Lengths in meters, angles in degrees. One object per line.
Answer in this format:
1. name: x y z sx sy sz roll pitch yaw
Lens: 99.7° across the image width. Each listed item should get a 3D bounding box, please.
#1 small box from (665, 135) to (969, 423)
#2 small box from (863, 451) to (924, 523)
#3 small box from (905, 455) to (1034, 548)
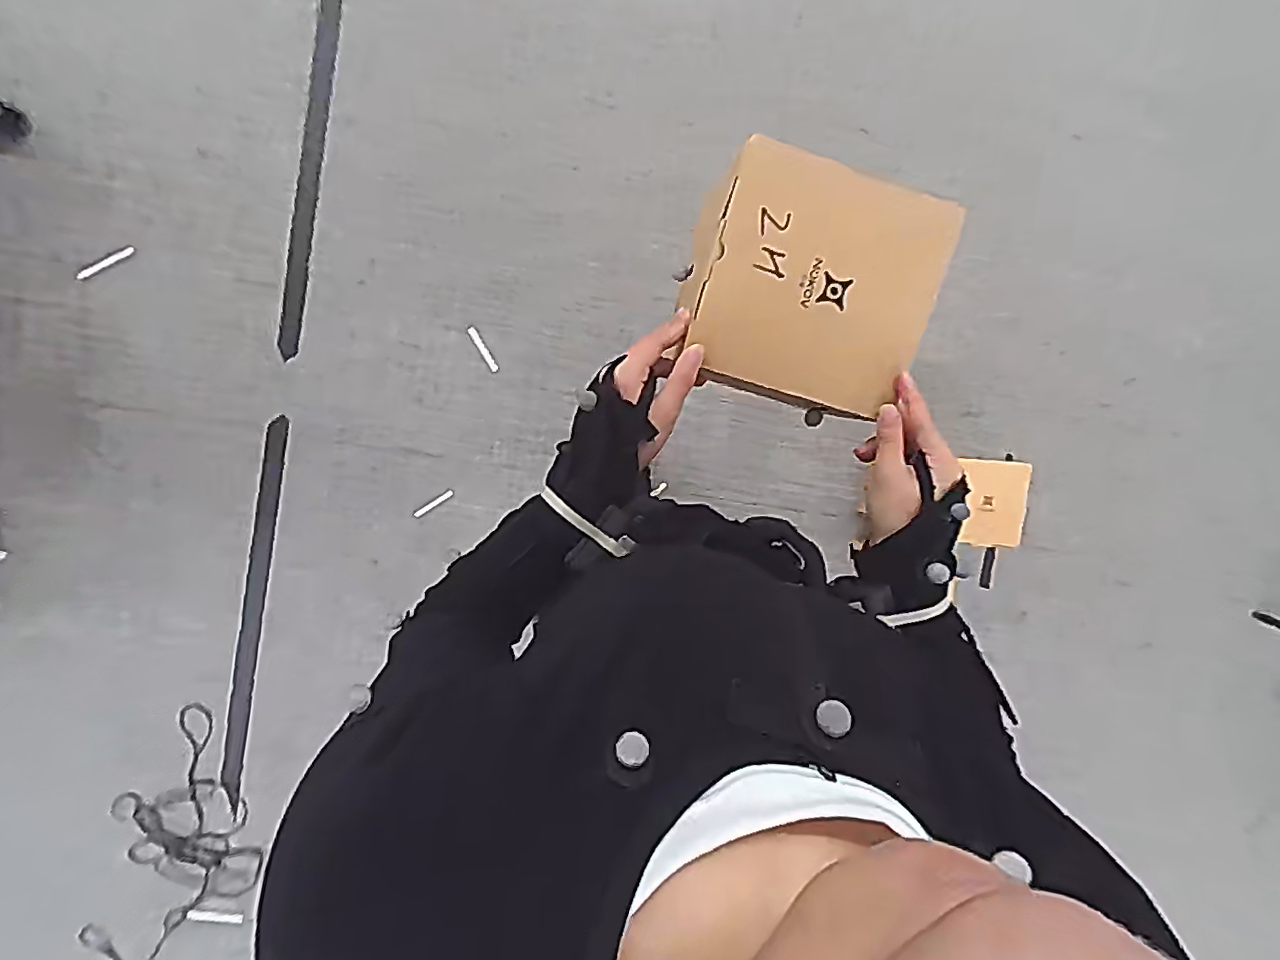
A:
1. small box: 0.132 -0.159 0.478 0.179 0.176 0.168 15 99 -6
2. small box: 0.680 0.026 1.329 0.179 0.176 0.168 11 95 -6
3. small box: 0.700 0.039 1.168 0.168 0.176 0.179 4 96 -5
